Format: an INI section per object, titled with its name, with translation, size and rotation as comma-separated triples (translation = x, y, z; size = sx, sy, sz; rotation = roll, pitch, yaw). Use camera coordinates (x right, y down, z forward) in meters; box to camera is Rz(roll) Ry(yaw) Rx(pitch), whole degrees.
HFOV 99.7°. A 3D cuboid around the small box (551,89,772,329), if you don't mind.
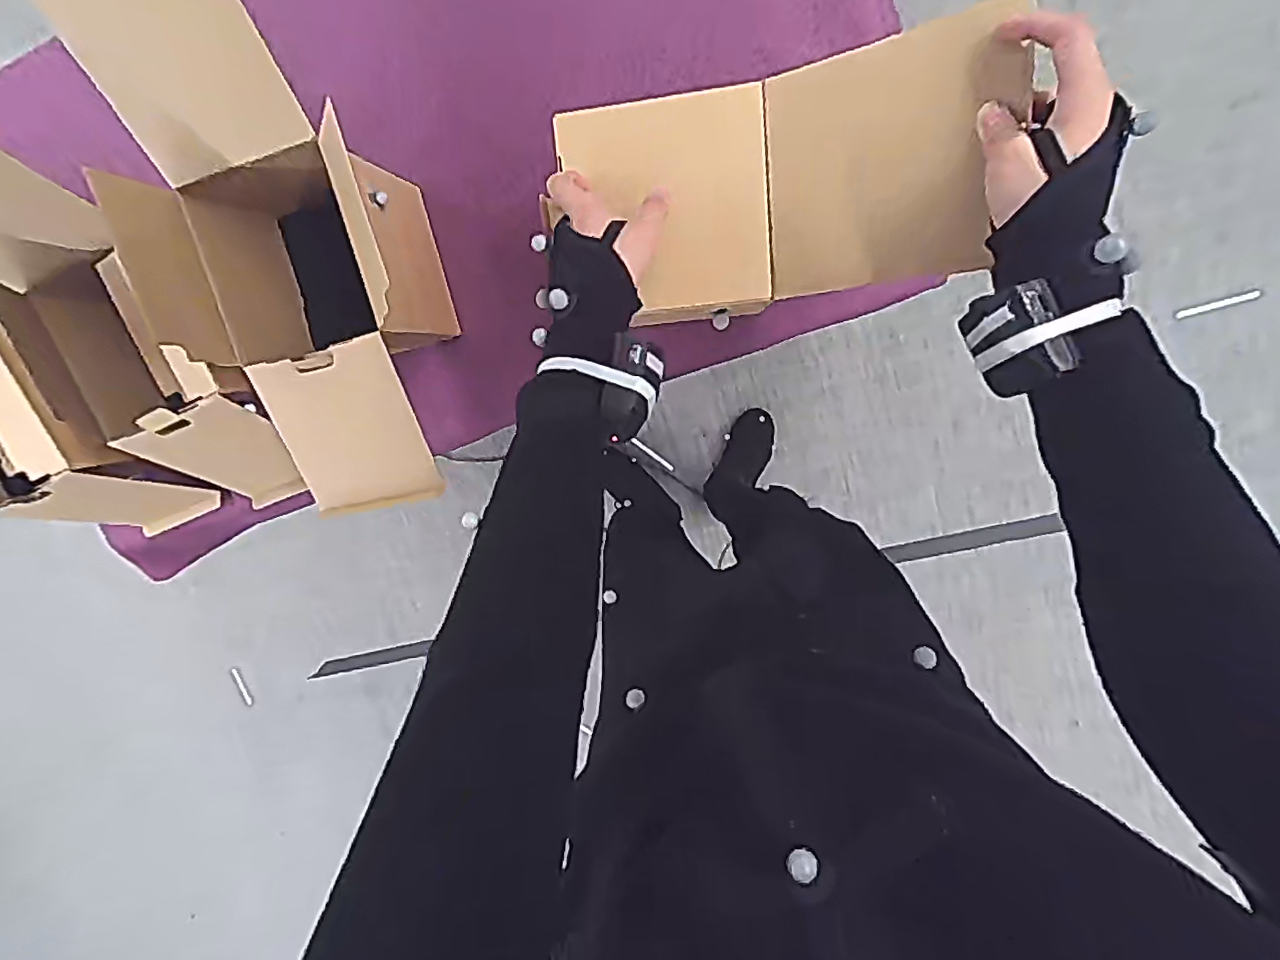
[small box]
translation = 0.027, -0.241, 0.527
size = 0.179, 0.176, 0.168
rotation = -3, 103, 8
